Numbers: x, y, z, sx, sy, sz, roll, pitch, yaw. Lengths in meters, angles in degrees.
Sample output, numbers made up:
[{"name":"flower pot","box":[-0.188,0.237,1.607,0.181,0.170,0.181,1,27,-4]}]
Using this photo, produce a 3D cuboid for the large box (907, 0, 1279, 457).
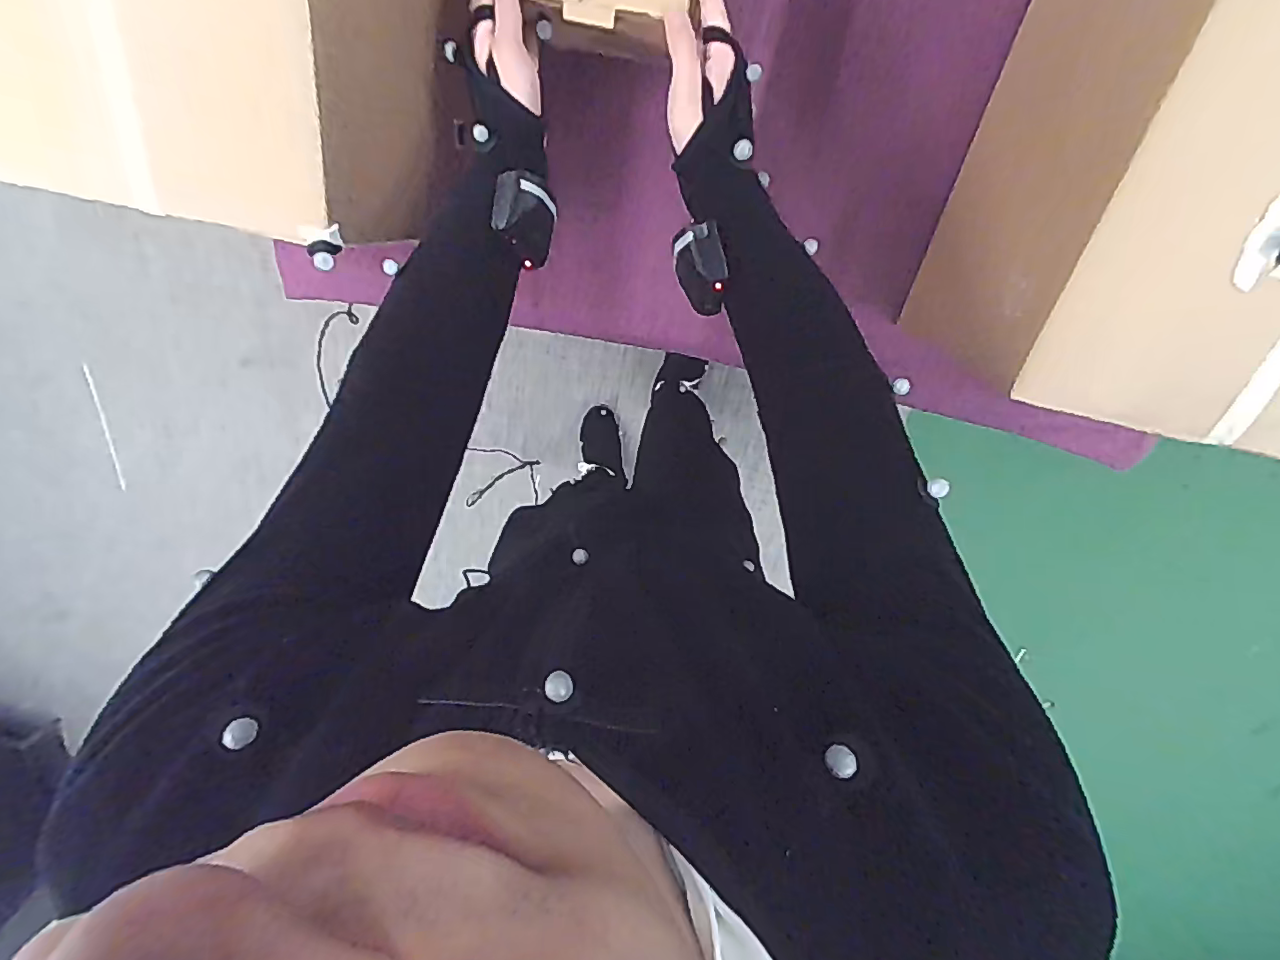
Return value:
[{"name":"large box","box":[0.499,-0.271,0.467,0.320,0.320,0.408,13,118,3]}]
